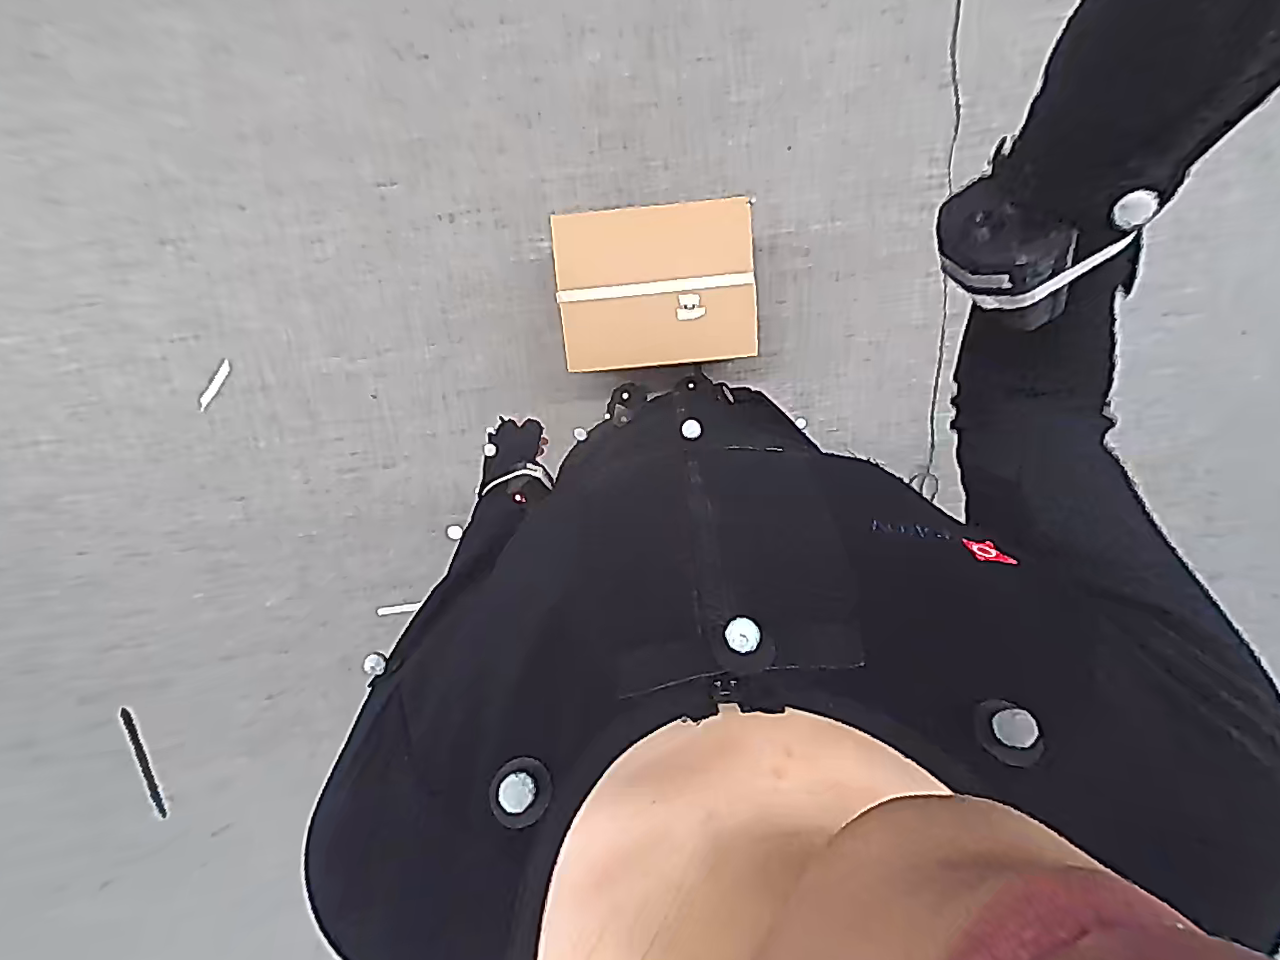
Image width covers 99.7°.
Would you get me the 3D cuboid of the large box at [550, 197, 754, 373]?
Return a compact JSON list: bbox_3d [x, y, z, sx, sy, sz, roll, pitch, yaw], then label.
[{"bbox_3d":[0.028,-0.428,1.267,0.408,0.320,0.320,-6,102,1],"label":"large box"}]
